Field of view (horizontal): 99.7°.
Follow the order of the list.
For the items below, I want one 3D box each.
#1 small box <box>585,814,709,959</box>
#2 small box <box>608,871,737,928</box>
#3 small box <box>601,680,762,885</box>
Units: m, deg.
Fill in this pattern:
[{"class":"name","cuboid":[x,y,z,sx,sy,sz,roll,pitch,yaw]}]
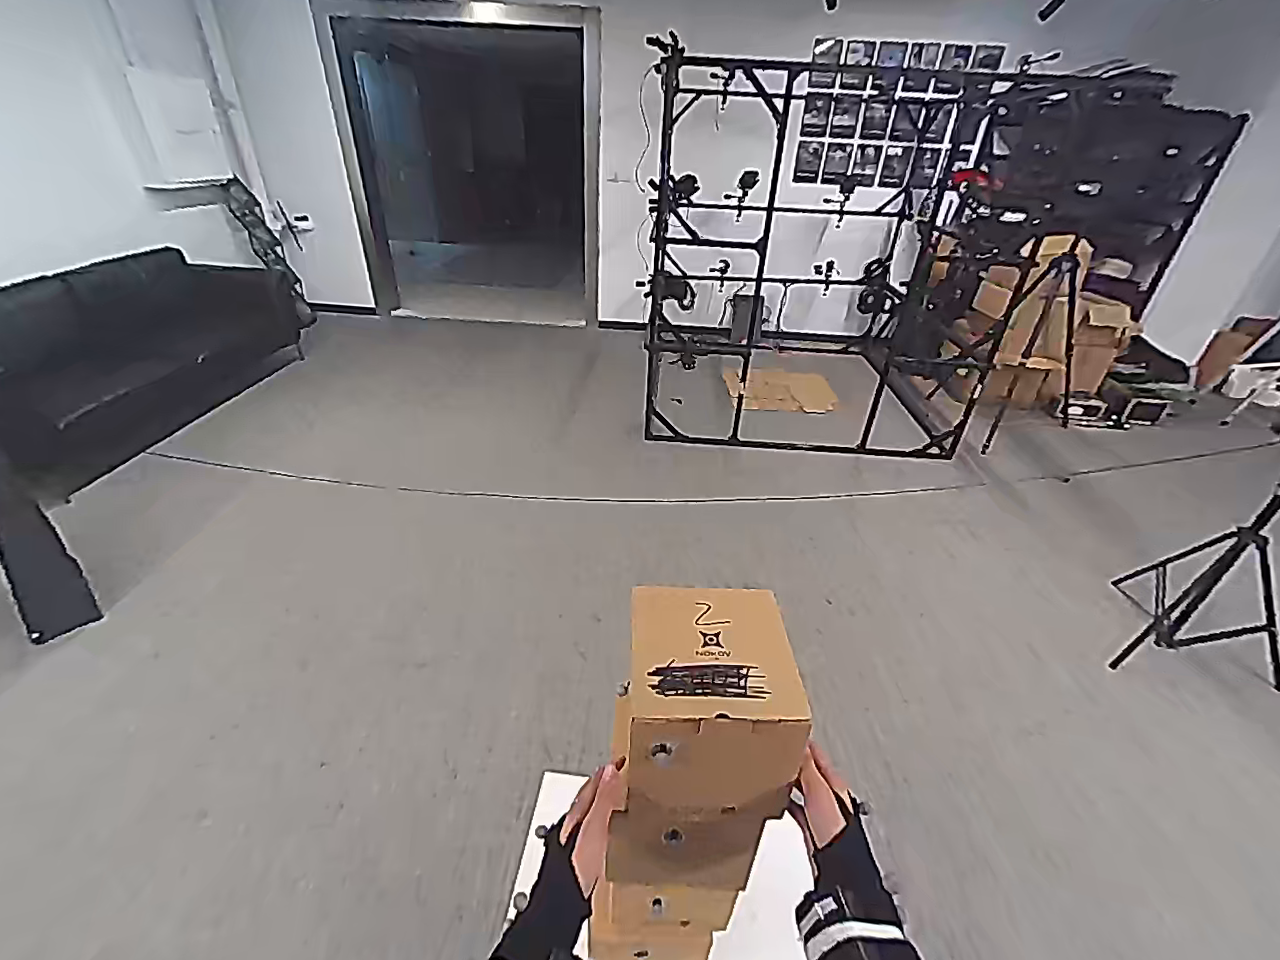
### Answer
[{"class":"small box","cuboid":[0.006,0.658,0.855,0.179,0.176,0.168,3,32,-3]},{"class":"small box","cuboid":[0.041,0.513,0.783,0.168,0.176,0.179,3,31,-1]},{"class":"small box","cuboid":[0.046,0.380,0.685,0.179,0.176,0.168,4,32,1]}]
